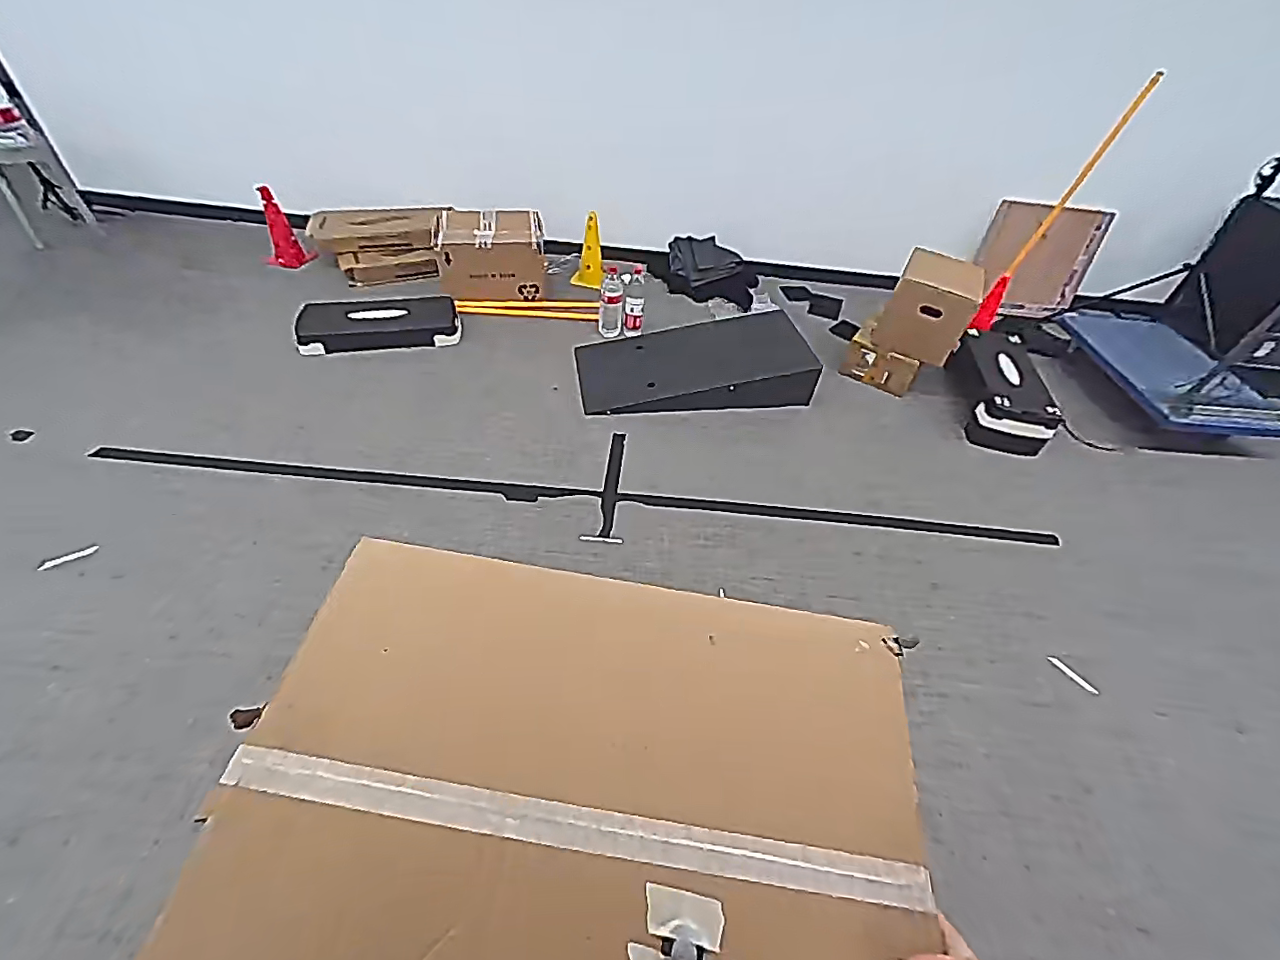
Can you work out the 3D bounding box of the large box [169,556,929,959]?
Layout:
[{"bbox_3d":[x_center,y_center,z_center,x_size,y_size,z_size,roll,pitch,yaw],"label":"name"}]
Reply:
[{"bbox_3d":[-0.044,0.294,0.441,0.408,0.320,0.320,9,54,1],"label":"large box"}]
